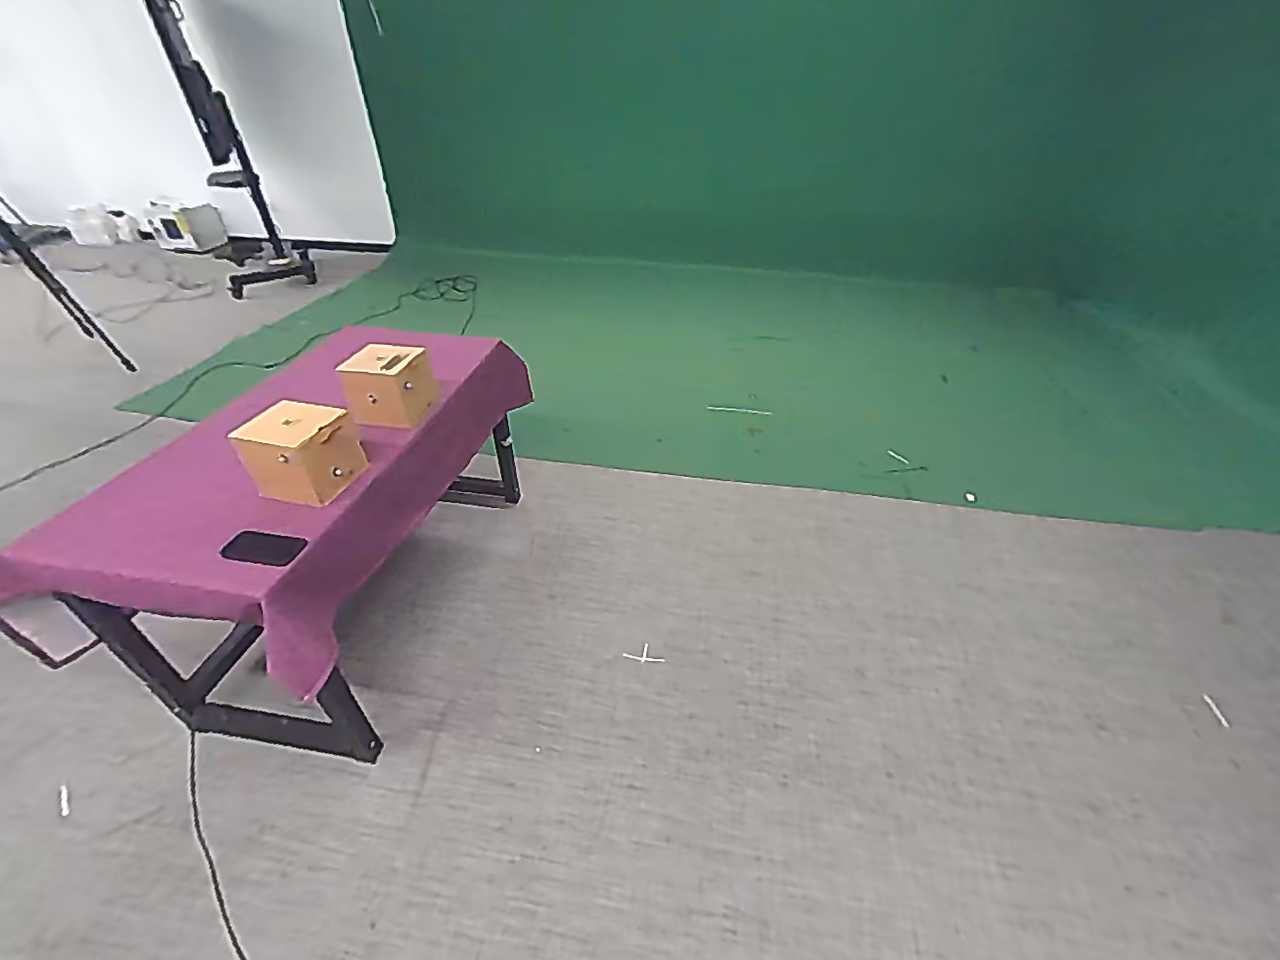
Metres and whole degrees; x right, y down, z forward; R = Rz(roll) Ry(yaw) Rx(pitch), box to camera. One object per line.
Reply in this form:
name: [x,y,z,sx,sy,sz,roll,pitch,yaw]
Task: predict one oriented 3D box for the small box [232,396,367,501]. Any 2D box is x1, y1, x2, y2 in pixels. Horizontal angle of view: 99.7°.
small box: [-0.769,-0.071,1.242,0.179,0.176,0.168,10,39,10]
